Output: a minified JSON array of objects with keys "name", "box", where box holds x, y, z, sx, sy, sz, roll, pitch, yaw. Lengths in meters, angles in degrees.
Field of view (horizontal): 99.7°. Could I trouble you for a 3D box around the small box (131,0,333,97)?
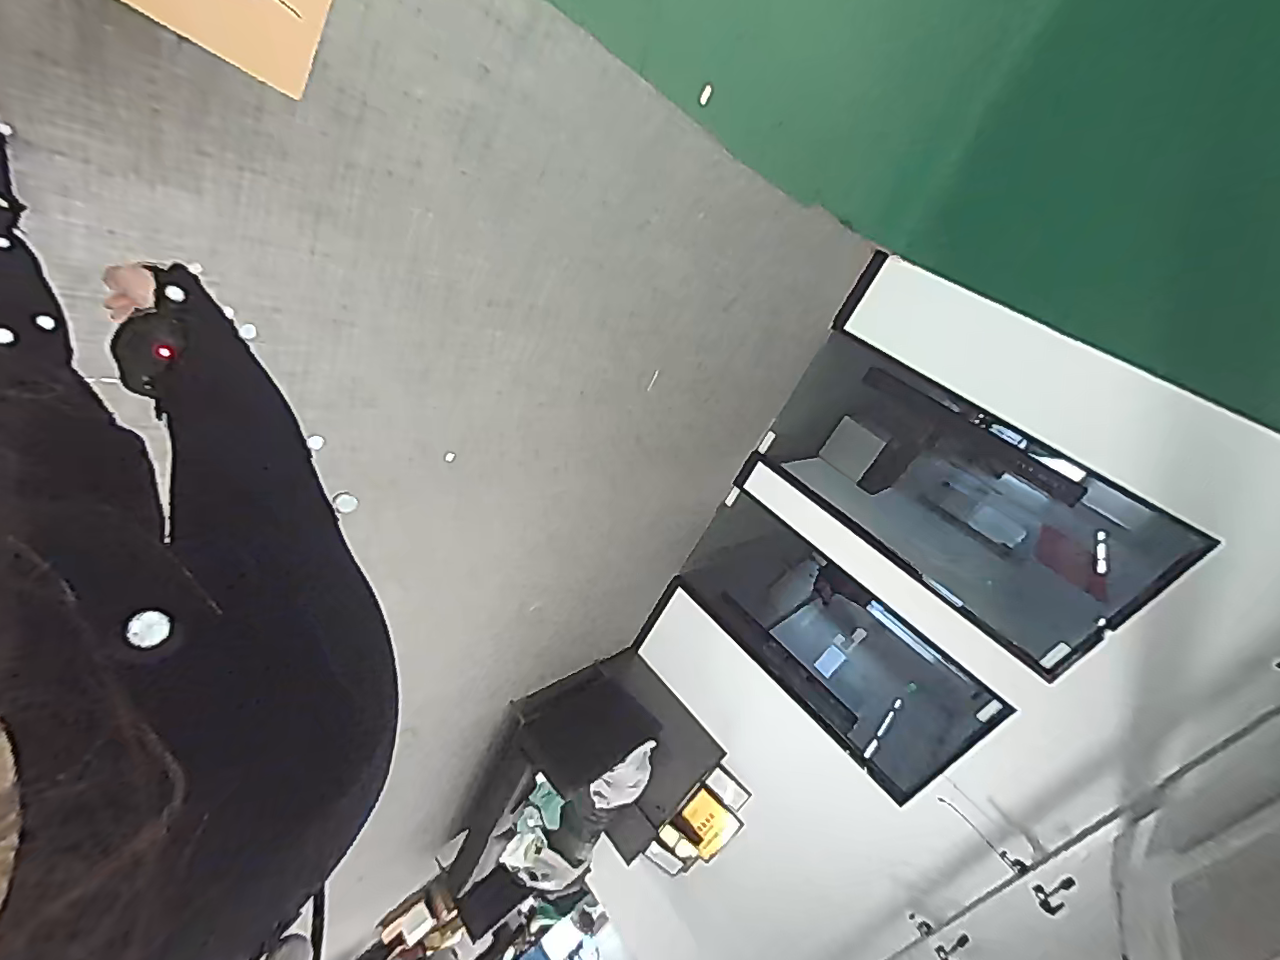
[{"name":"small box","box":[-0.454,-0.559,0.572,0.179,0.176,0.168,3,125,-57]}]
